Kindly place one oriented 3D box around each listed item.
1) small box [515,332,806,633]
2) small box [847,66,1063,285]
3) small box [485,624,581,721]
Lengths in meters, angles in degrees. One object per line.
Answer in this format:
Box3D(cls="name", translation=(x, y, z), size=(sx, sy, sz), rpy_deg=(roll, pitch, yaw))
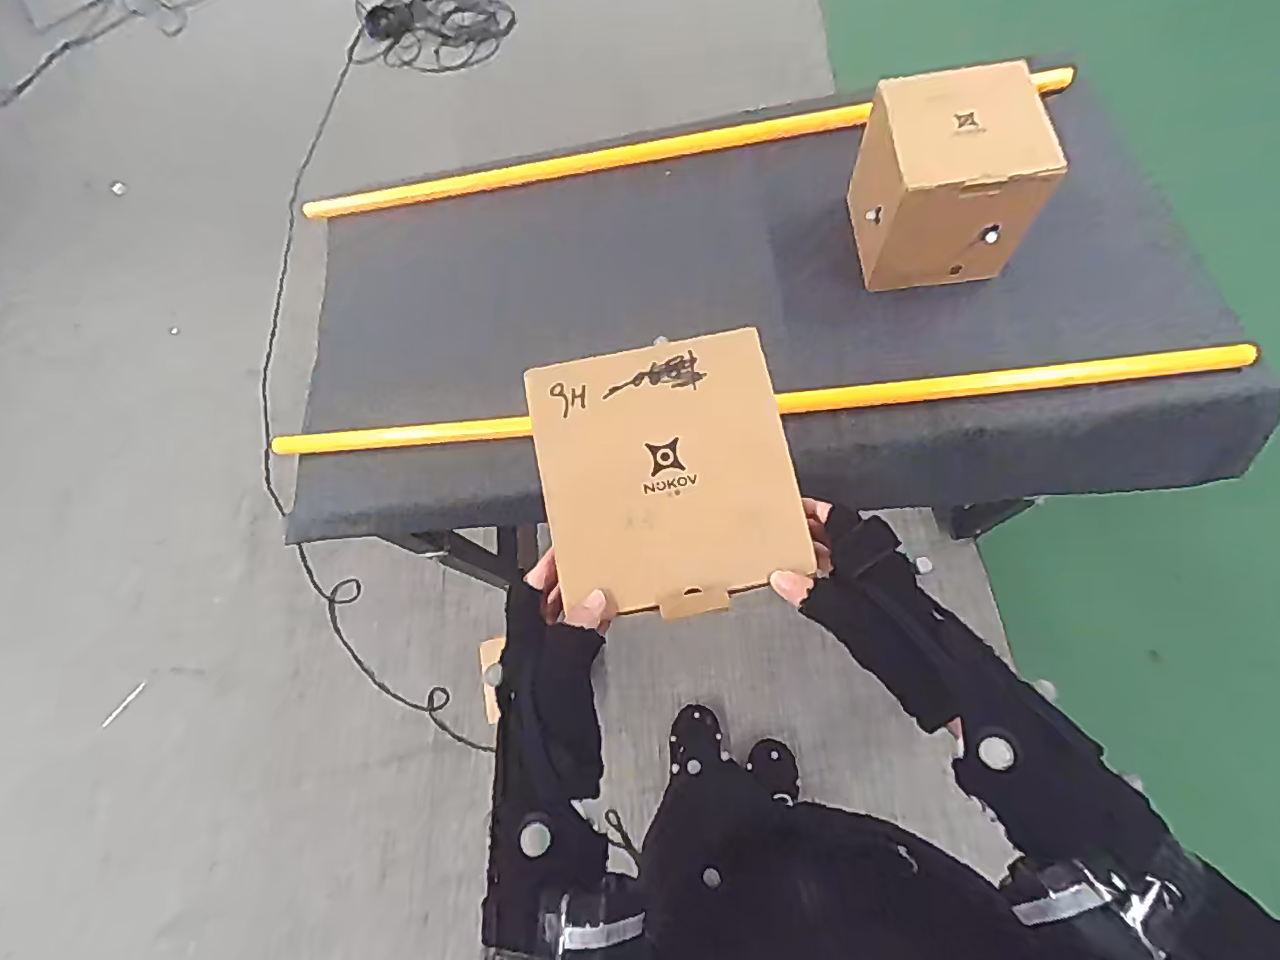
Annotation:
Box3D(cls="small box", translation=(0.013, 0.010, 0.440), size=(0.168, 0.176, 0.179), rpy_deg=(-14, 80, -1))
Box3D(cls="small box", translation=(0.373, -0.366, 0.680), size=(0.168, 0.176, 0.179), rpy_deg=(-4, 68, 6))
Box3D(cls="small box", translation=(-0.243, 0.446, 1.251), size=(0.168, 0.176, 0.179), rpy_deg=(-14, 69, 3))
